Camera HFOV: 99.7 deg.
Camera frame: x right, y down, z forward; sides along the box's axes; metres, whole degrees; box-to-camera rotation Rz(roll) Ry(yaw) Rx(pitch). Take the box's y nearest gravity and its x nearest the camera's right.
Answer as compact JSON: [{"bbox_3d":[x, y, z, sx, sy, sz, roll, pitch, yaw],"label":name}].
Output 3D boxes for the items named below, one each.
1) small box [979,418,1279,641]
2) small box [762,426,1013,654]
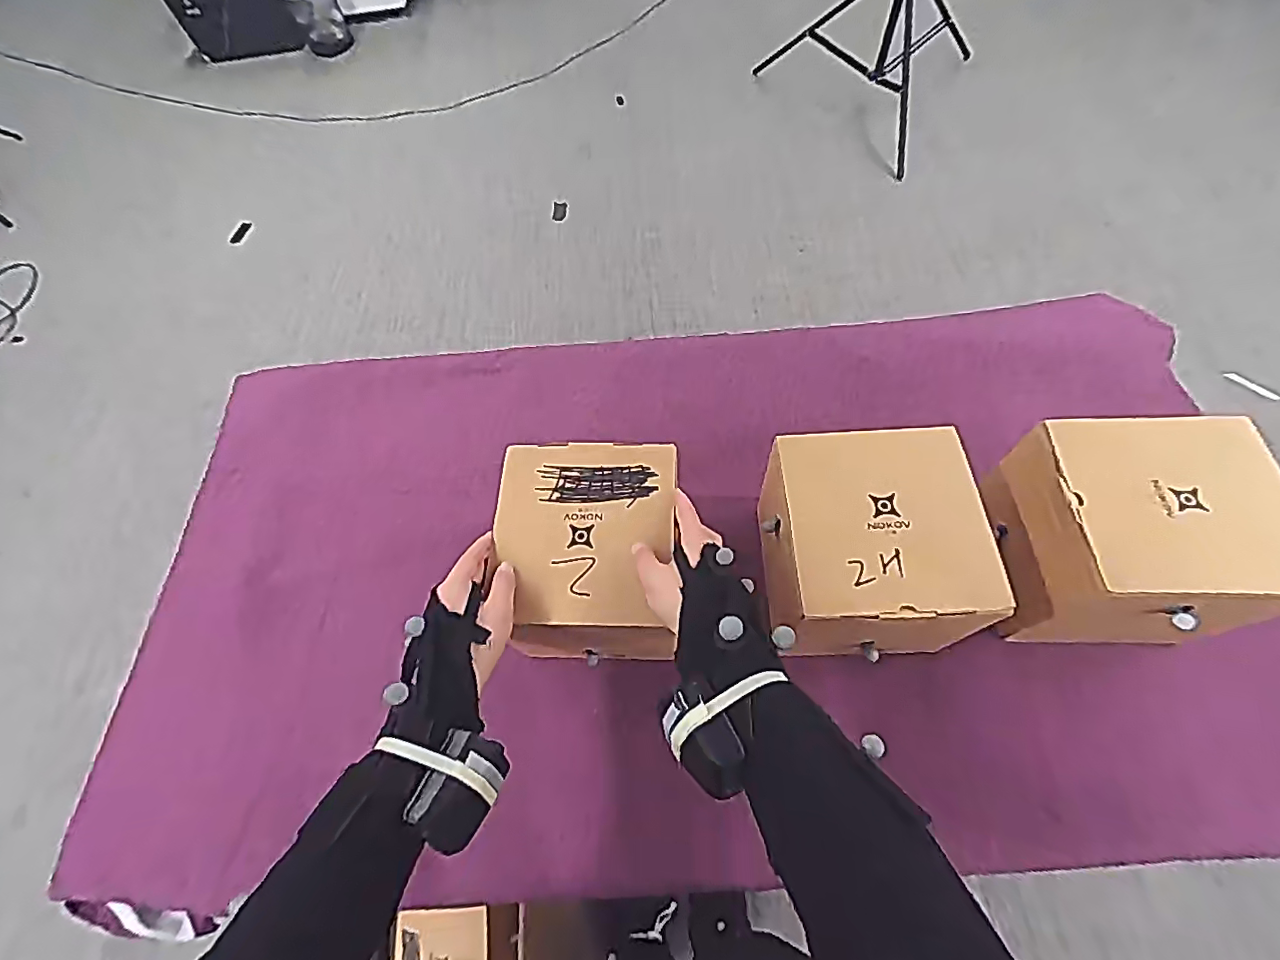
[{"bbox_3d":[0.459,0.054,0.524,0.179,0.176,0.168,-1,61,6],"label":"small box"},{"bbox_3d":[0.219,0.067,0.539,0.168,0.176,0.179,-3,62,5],"label":"small box"}]
